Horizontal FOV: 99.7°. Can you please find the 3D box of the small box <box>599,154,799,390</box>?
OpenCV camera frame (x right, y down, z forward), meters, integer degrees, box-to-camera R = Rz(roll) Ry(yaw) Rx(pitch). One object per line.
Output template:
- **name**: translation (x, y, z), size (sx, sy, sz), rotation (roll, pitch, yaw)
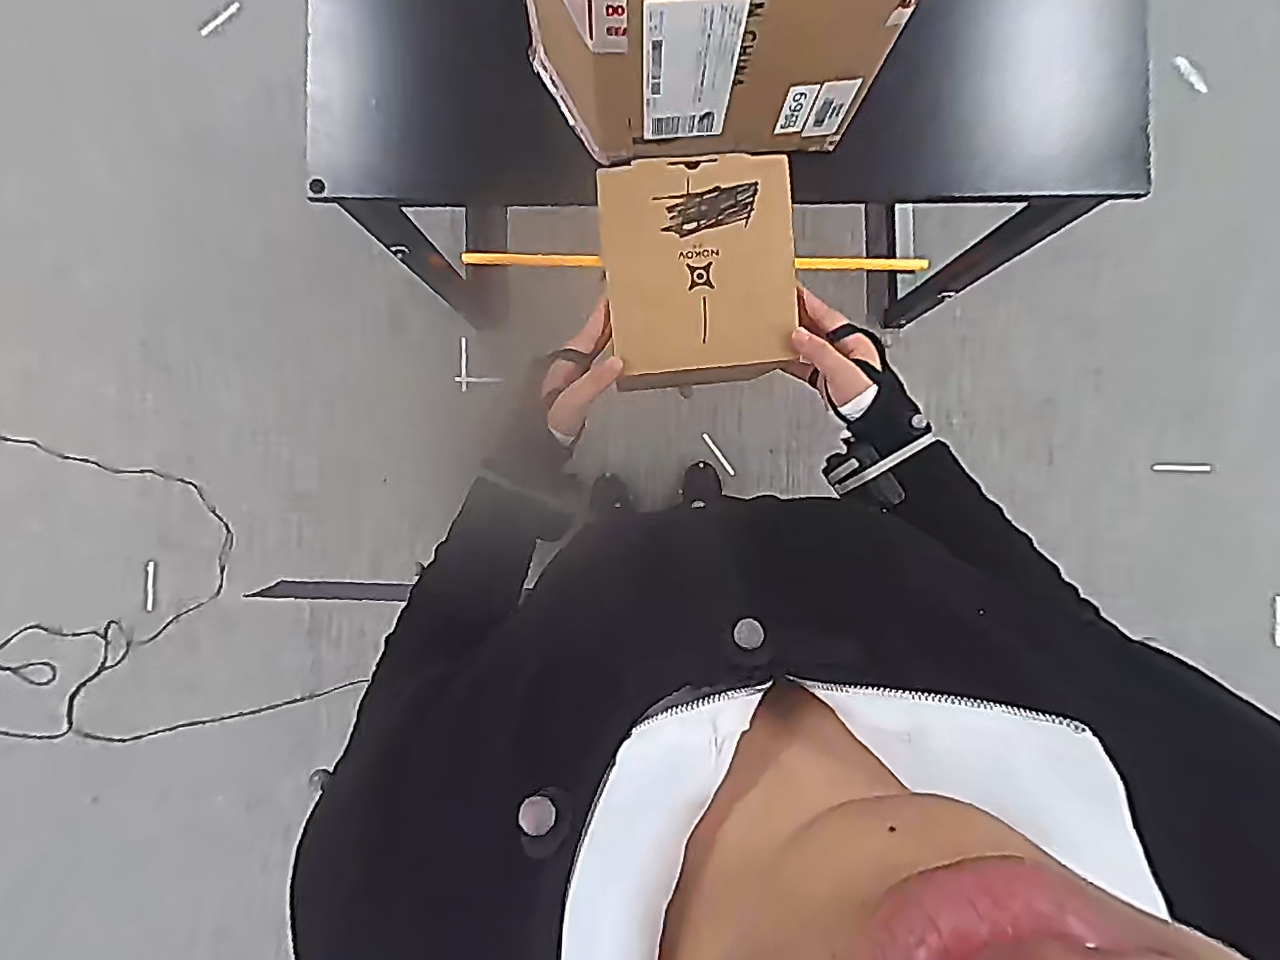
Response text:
- **small box**: translation (0.048, -0.193, 0.547), size (0.168, 0.176, 0.179), rotation (-6, 95, -1)
